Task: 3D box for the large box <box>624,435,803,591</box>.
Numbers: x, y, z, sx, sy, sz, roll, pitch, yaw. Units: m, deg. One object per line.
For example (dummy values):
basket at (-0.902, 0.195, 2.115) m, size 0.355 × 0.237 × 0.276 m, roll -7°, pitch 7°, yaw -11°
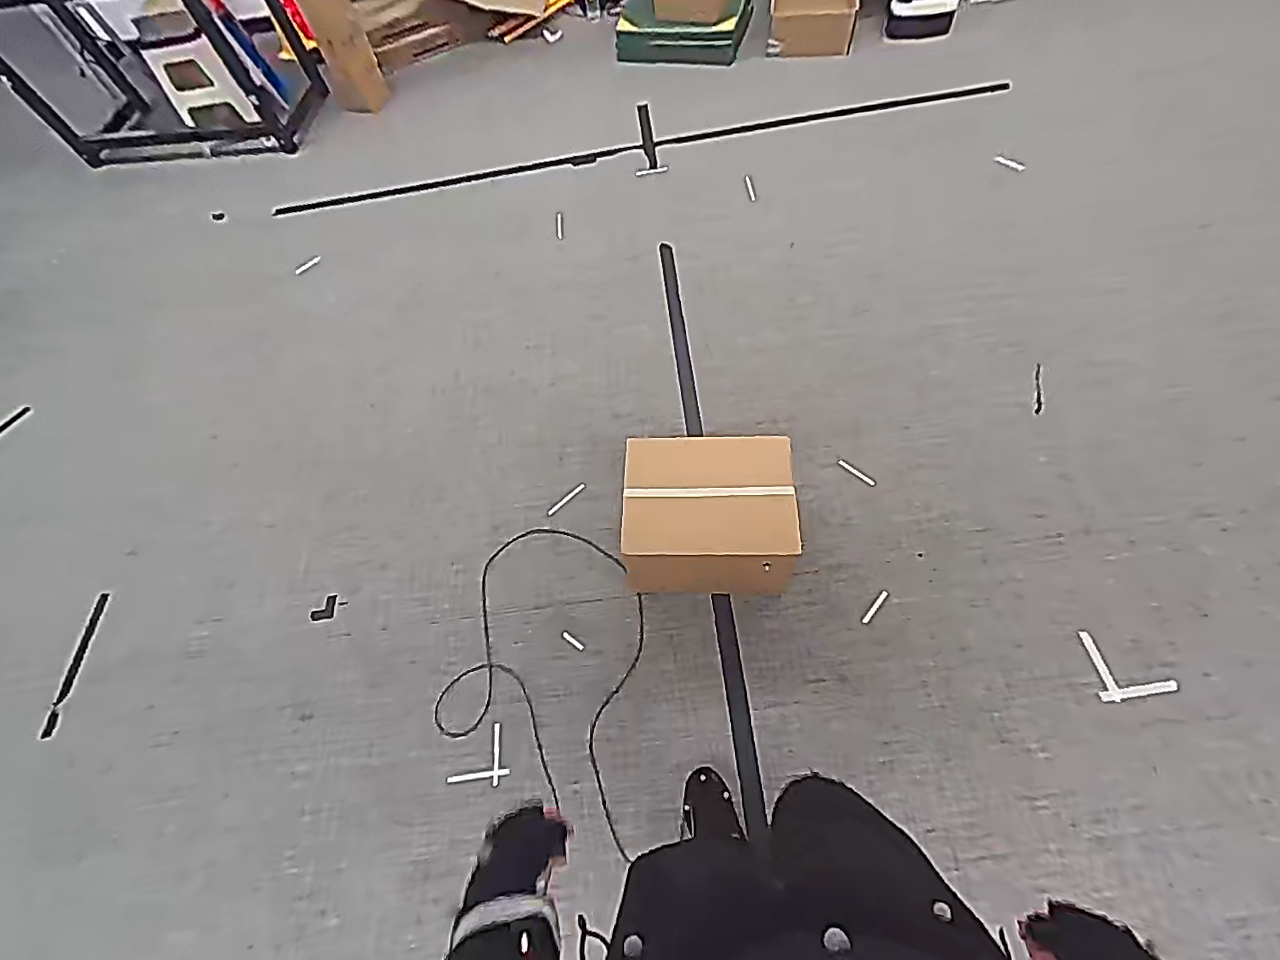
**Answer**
large box at (0.179, 0.099, 1.404) m, size 0.408 × 0.320 × 0.320 m, roll -1°, pitch 62°, yaw 5°
